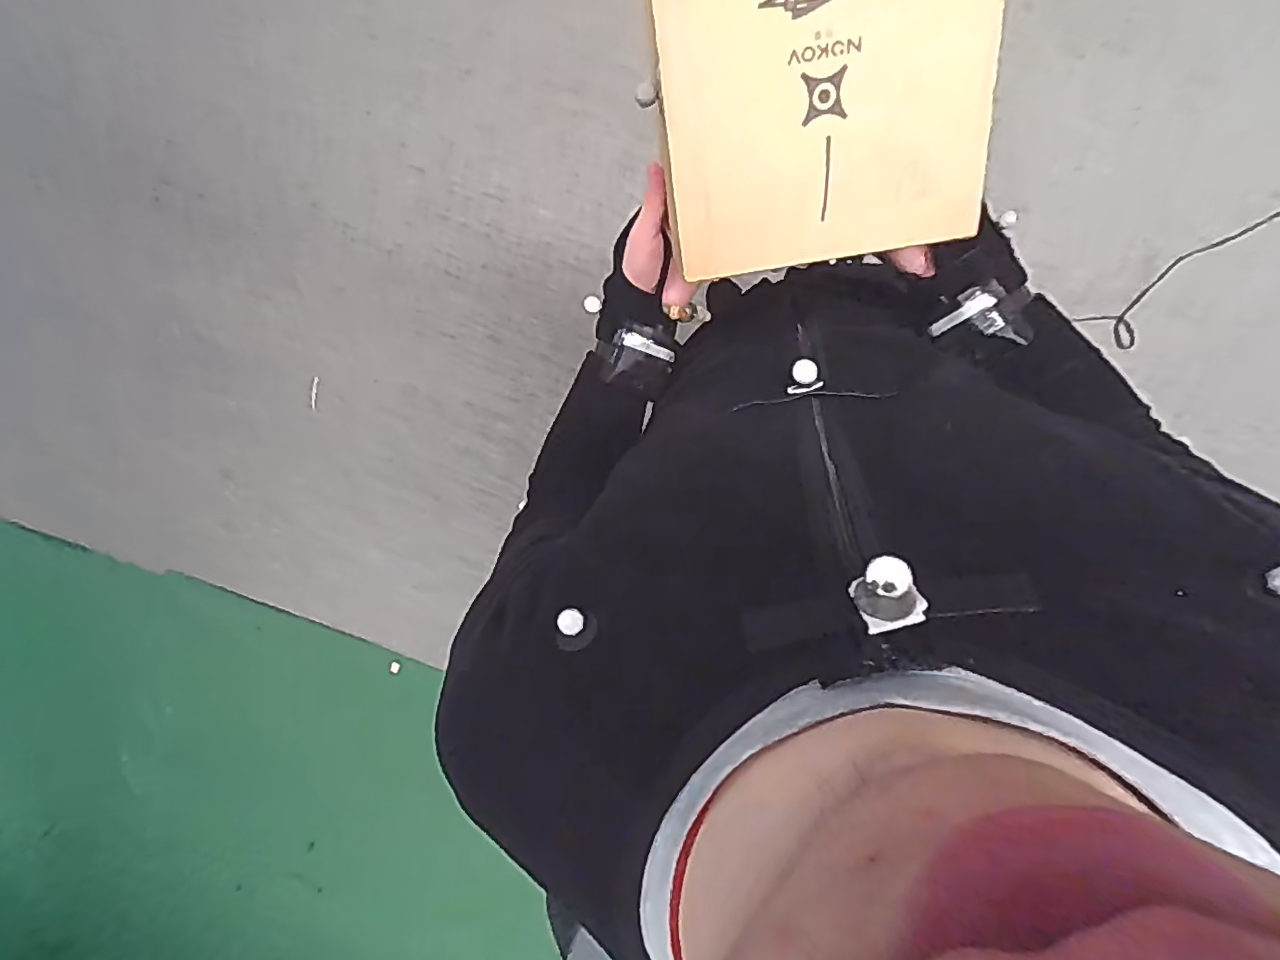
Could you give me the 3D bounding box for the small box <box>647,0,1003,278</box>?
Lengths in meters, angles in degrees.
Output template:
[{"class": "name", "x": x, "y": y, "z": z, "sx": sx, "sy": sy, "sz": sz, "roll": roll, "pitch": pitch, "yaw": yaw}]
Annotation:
[{"class": "small box", "x": 0.095, "y": -0.240, "z": 0.343, "sx": 0.168, "sy": 0.176, "sz": 0.179, "roll": -7, "pitch": 118, "yaw": 5}]
